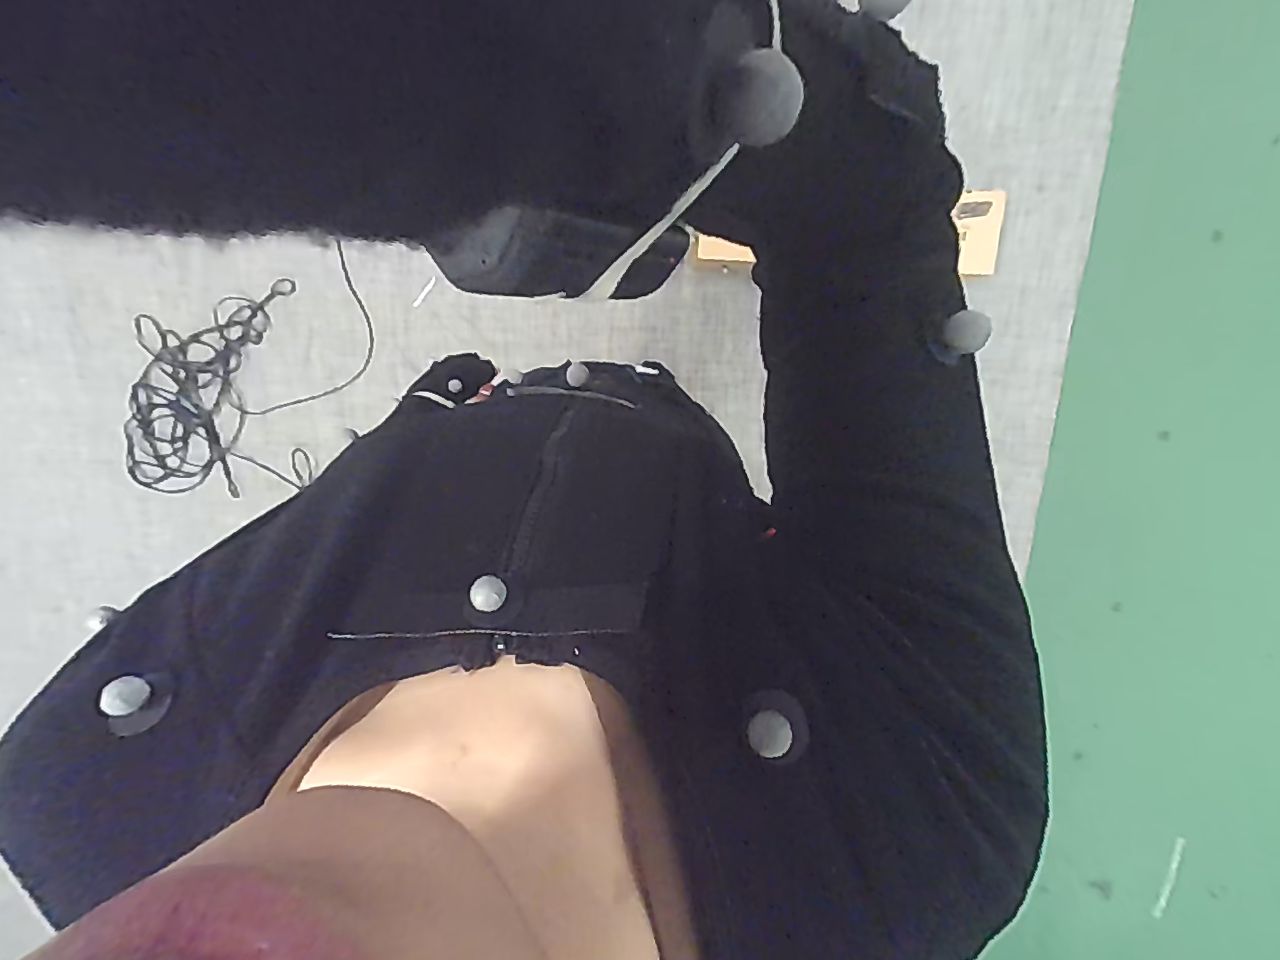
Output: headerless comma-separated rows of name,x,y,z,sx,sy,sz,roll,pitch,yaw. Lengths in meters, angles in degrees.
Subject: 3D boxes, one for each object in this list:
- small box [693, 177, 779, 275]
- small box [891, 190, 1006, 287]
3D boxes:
small box,0.217,-0.584,1.266,0.168,0.176,0.179,3,102,-1
small box,0.712,-0.558,1.268,0.168,0.176,0.179,2,103,0
